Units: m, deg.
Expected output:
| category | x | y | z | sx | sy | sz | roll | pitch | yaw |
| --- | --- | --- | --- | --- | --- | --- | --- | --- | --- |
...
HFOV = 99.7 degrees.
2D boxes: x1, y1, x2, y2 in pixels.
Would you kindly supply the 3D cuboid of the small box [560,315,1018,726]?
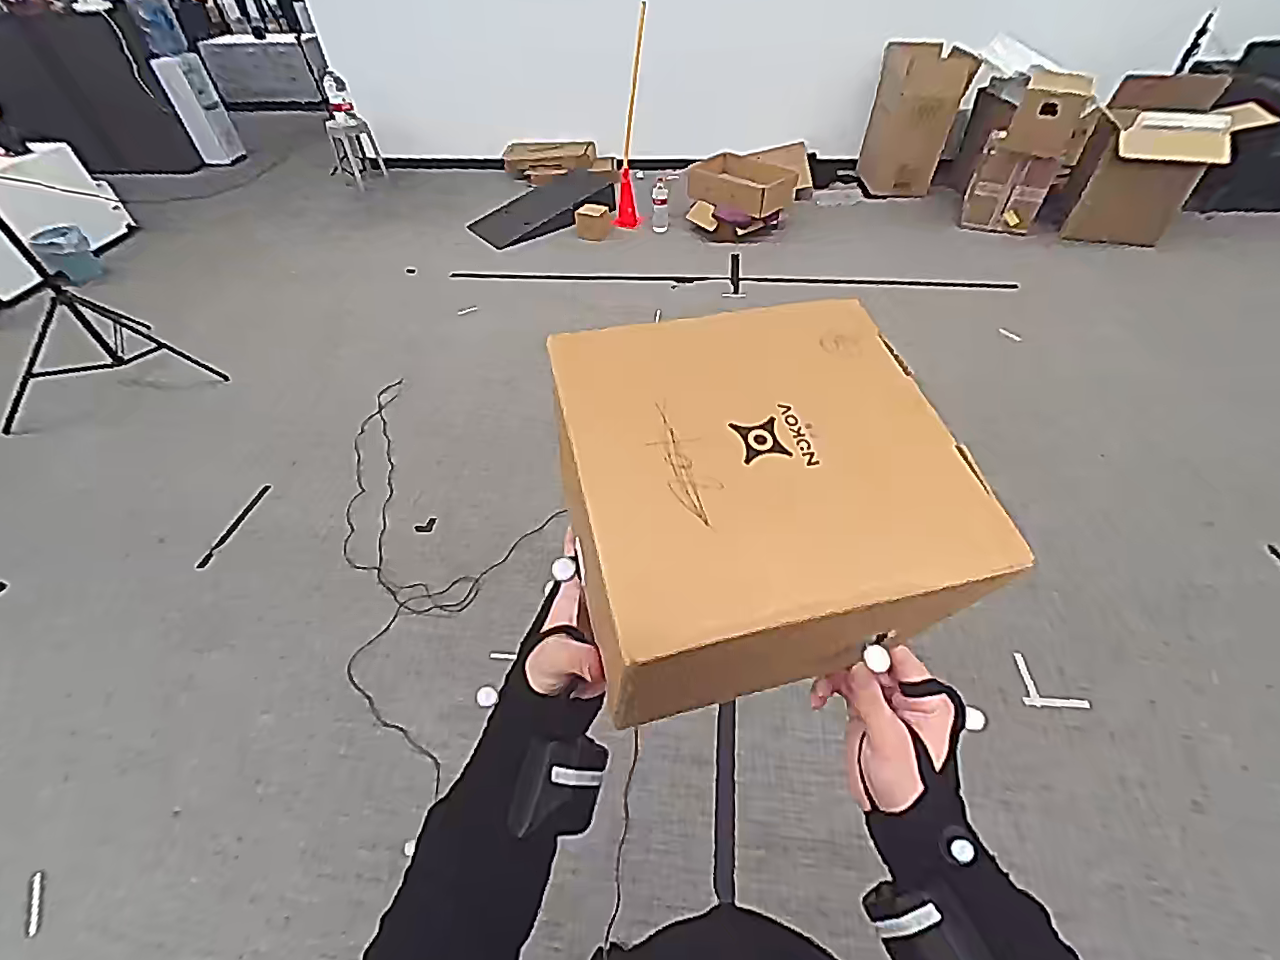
| category | x | y | z | sx | sy | sz | roll | pitch | yaw |
| --- | --- | --- | --- | --- | --- | --- | --- | --- | --- |
| small box | 0.055 | 0.031 | 0.322 | 0.179 | 0.176 | 0.168 | -11 | 59 | -10 |
